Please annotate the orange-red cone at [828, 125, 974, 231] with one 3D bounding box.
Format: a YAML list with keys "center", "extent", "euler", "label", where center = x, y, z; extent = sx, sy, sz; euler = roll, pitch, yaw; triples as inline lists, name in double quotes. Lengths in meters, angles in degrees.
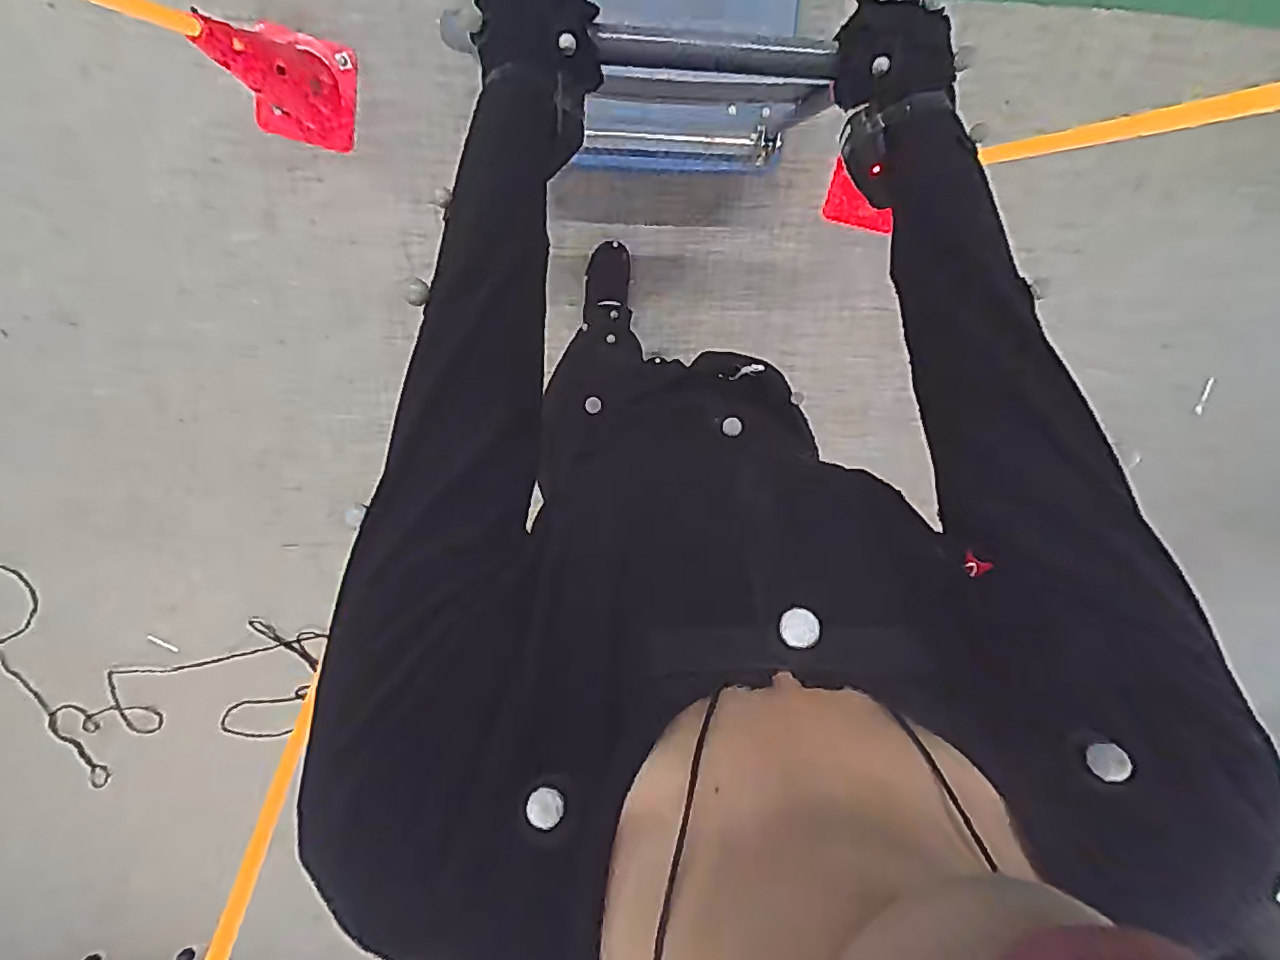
- center: [0.580, -0.656, 1.145]
  extent: [0.198, 0.360, 0.199]
  euler: [10, 112, -8]
  label: "orange-red cone"
